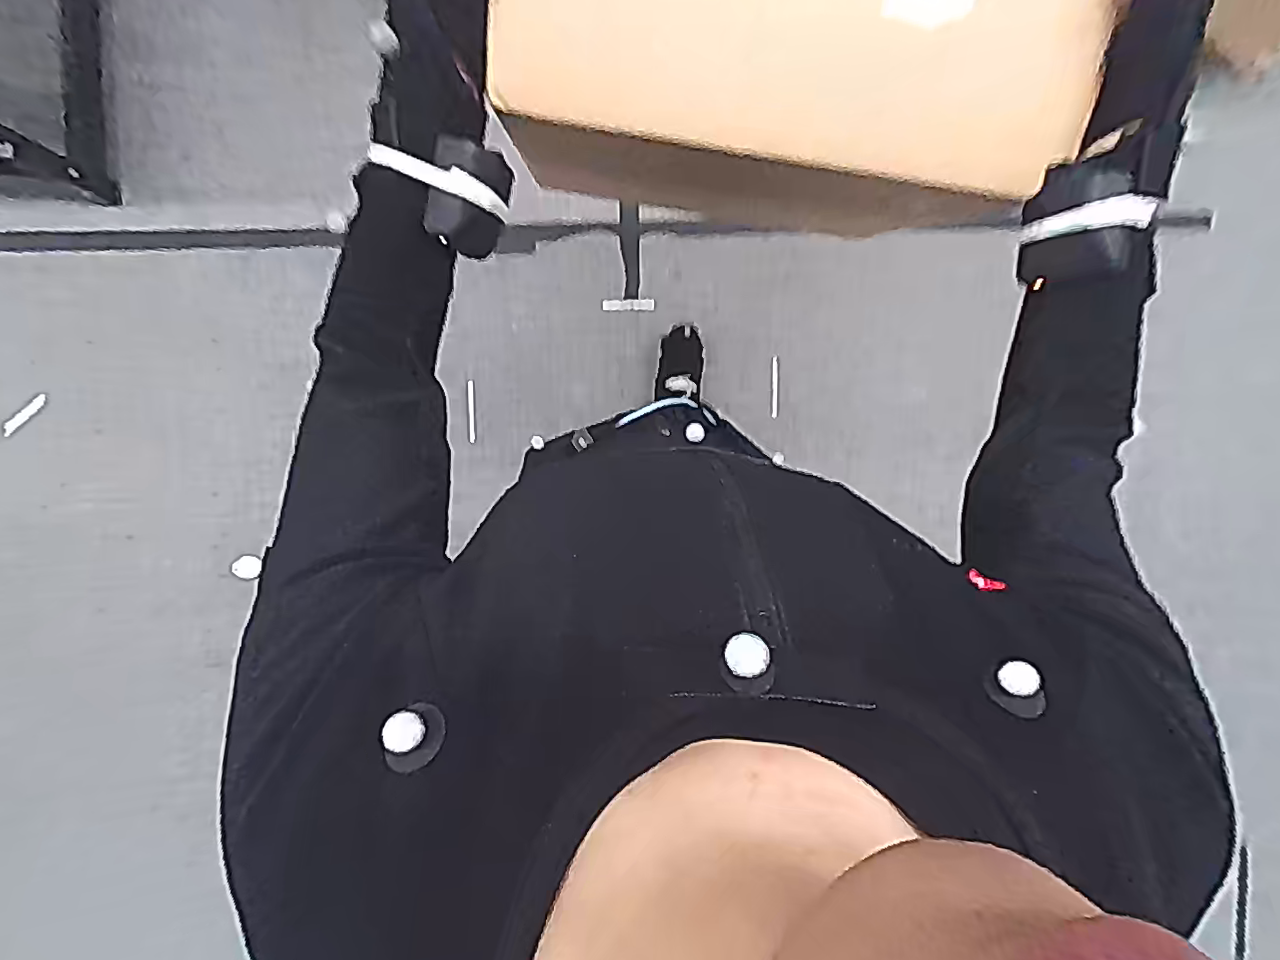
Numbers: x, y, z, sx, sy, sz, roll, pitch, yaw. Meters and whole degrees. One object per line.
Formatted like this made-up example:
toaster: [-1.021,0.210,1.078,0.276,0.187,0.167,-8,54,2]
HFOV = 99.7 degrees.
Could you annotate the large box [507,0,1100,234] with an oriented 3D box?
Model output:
large box: [0.108,-0.422,0.478,0.408,0.320,0.320,5,110,-8]
